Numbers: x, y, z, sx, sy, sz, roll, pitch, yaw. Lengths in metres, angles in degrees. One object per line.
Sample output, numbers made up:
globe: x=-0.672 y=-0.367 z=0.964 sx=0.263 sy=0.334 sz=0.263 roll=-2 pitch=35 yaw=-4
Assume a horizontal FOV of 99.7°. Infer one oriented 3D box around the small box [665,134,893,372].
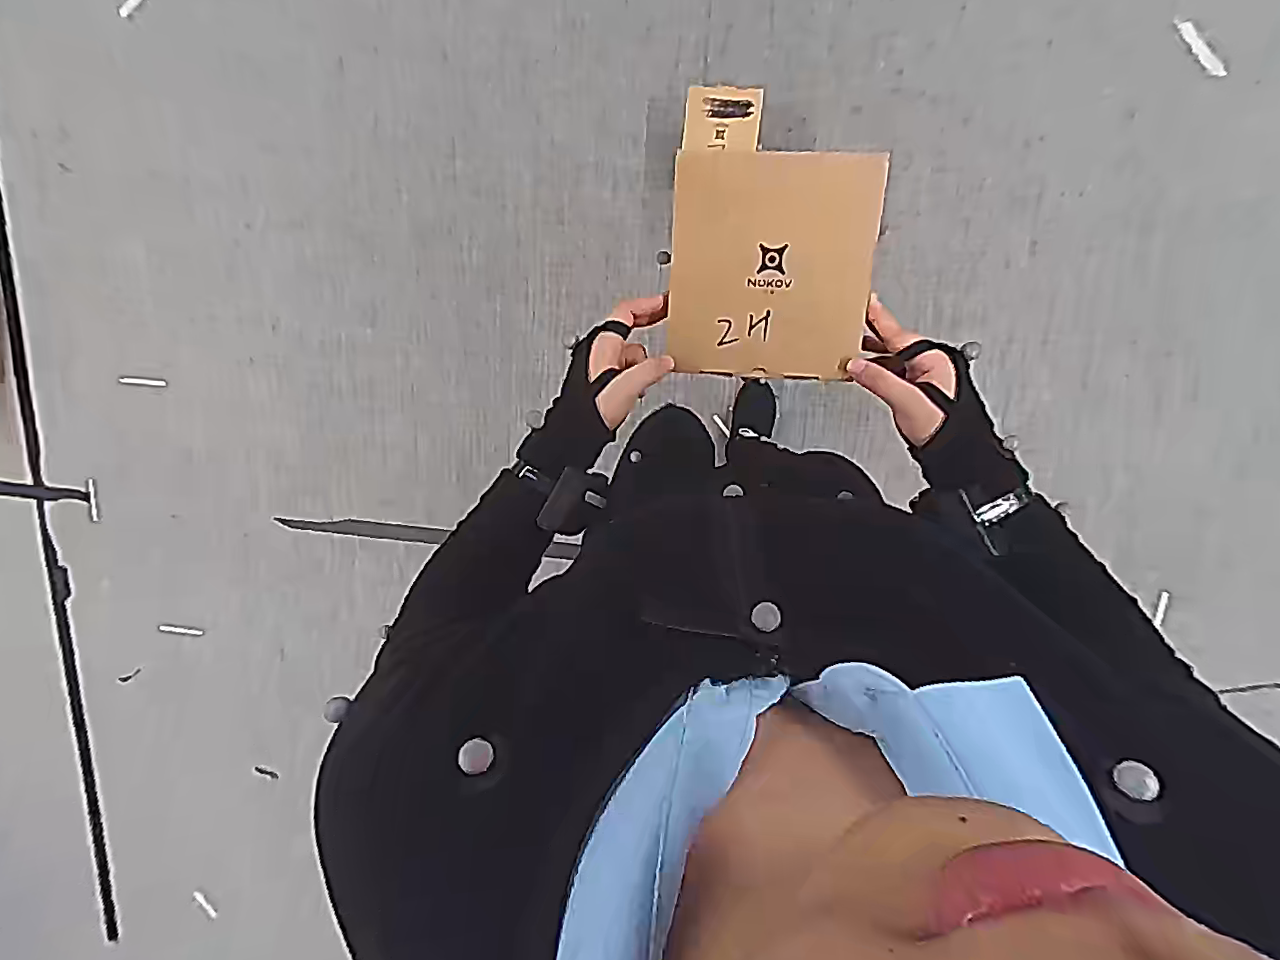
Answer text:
small box: x=0.115 y=-0.203 z=0.514 sx=0.168 sy=0.176 sz=0.179 roll=4 pitch=108 yaw=6
